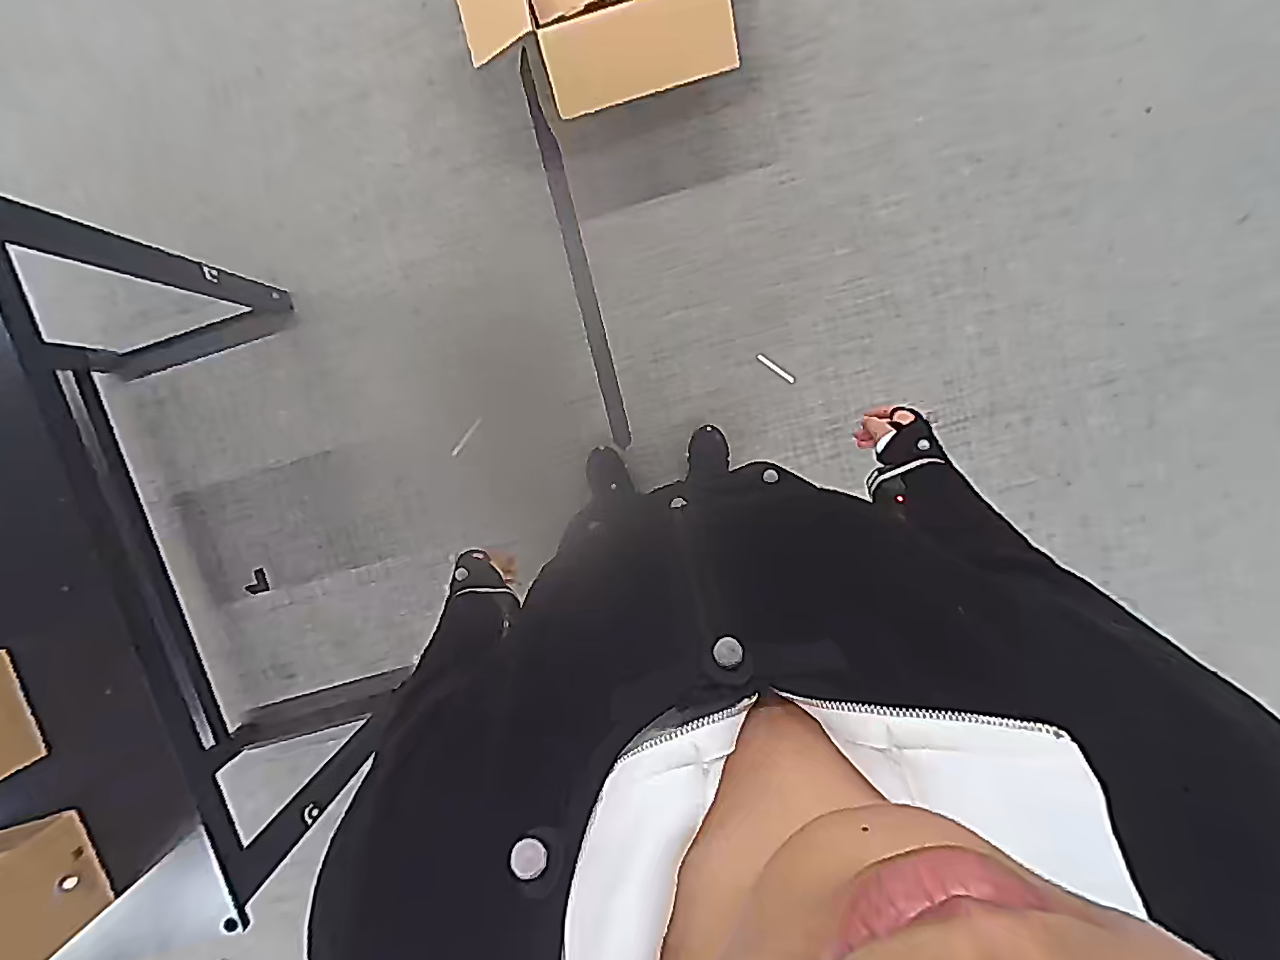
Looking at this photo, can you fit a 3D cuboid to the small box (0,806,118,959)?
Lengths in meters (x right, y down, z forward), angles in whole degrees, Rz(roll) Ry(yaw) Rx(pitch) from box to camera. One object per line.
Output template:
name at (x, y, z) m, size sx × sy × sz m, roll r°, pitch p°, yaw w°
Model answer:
small box at (-0.938, 0.618, 0.783) m, size 0.179 × 0.176 × 0.168 m, roll -18°, pitch 96°, yaw 3°

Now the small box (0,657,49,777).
small box at (-1.013, 0.364, 0.755) m, size 0.168 × 0.176 × 0.179 m, roll -16°, pitch 96°, yaw 4°
